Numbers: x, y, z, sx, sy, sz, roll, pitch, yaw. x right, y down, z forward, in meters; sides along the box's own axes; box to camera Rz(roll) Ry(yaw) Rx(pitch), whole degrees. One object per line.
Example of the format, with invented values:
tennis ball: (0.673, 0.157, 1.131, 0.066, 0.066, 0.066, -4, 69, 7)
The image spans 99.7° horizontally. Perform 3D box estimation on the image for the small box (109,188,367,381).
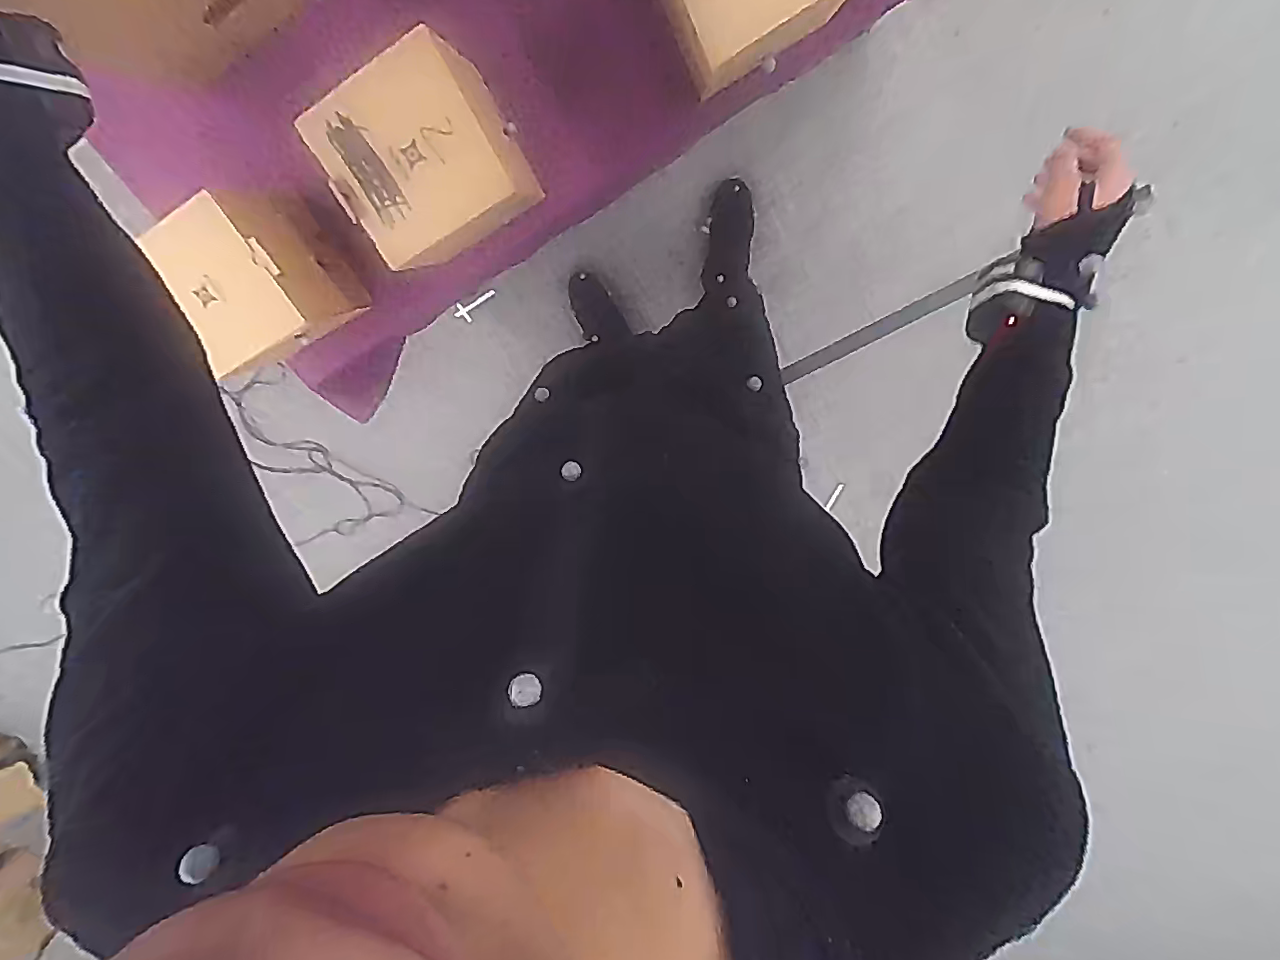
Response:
small box: (-0.509, -0.257, 0.716, 0.179, 0.176, 0.168, -25, 112, 13)

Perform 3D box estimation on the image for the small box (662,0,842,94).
small box: (0.103, -0.537, 0.546, 0.168, 0.176, 0.179, -24, 113, 15)
